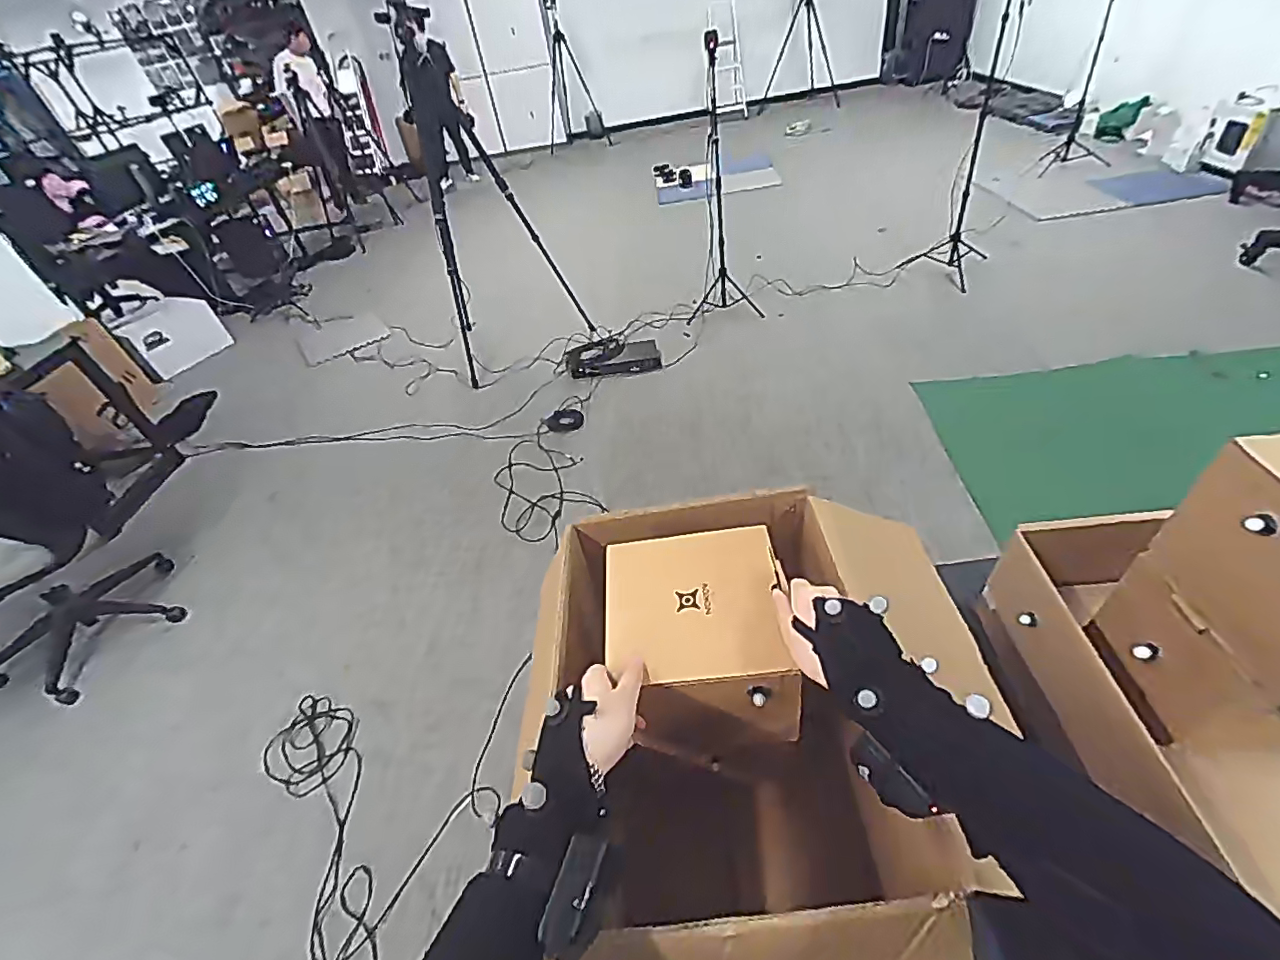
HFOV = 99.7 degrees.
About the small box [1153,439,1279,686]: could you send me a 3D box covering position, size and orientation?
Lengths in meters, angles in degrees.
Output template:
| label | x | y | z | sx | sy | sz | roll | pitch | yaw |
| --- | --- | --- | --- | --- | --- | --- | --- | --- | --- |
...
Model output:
| label | x | y | z | sx | sy | sz | roll | pitch | yaw |
| --- | --- | --- | --- | --- | --- | --- | --- | --- | --- |
| small box | 0.660 | 0.074 | 0.513 | 0.168 | 0.176 | 0.179 | -6 | 44 | 7 |
